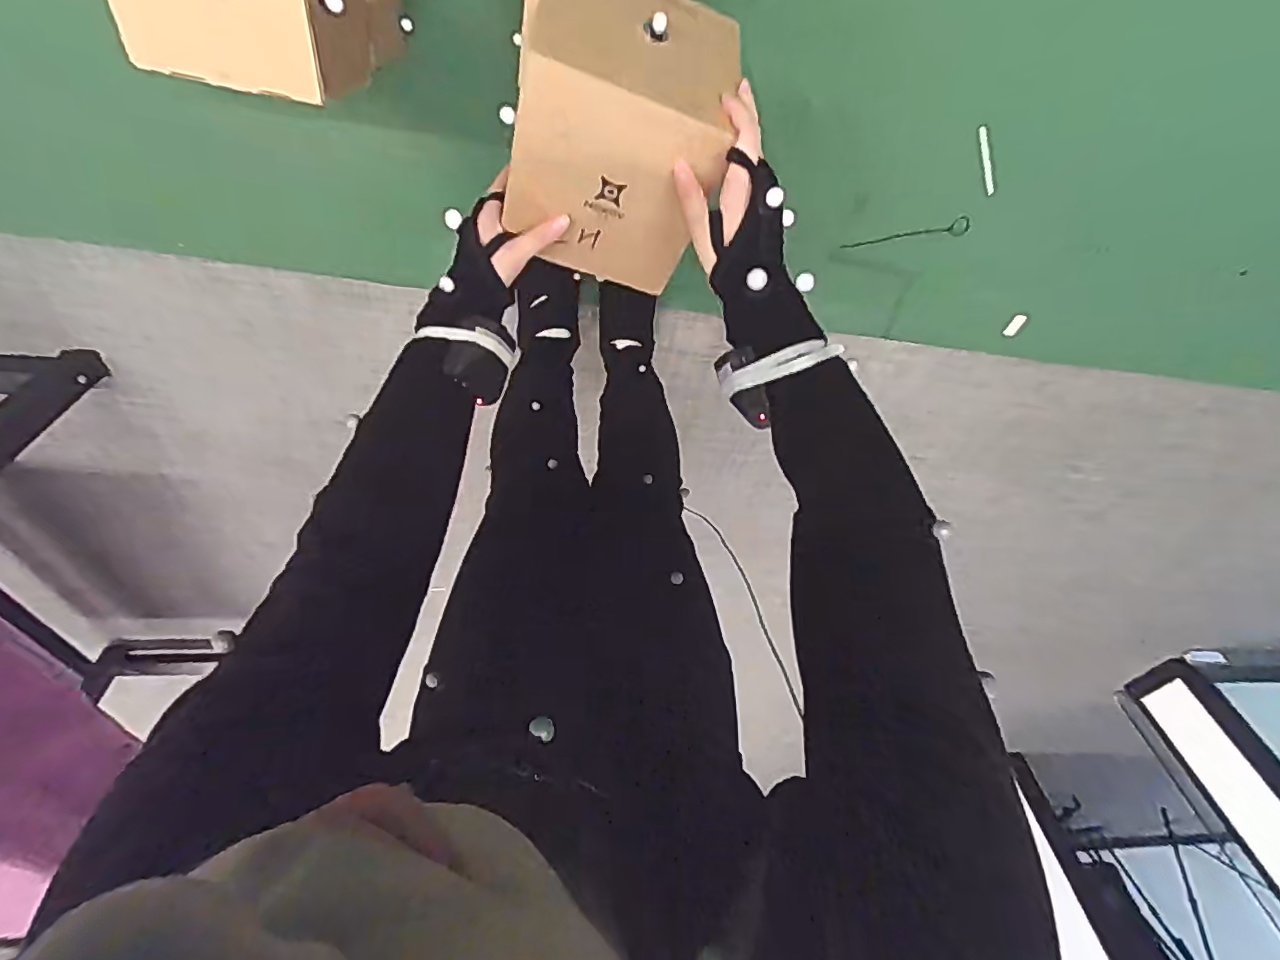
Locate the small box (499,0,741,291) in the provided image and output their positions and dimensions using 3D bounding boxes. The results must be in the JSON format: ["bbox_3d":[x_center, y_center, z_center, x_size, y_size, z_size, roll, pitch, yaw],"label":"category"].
[{"bbox_3d":[-0.024,-0.316,0.495,0.168,0.176,0.179,13,153,-16],"label":"small box"}]

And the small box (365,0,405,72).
[{"bbox_3d":[-0.387,-0.610,0.633,0.179,0.176,0.168,6,133,-10],"label":"small box"}]

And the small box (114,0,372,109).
[{"bbox_3d":[-0.376,-0.493,0.520,0.168,0.176,0.179,6,134,-10],"label":"small box"}]
